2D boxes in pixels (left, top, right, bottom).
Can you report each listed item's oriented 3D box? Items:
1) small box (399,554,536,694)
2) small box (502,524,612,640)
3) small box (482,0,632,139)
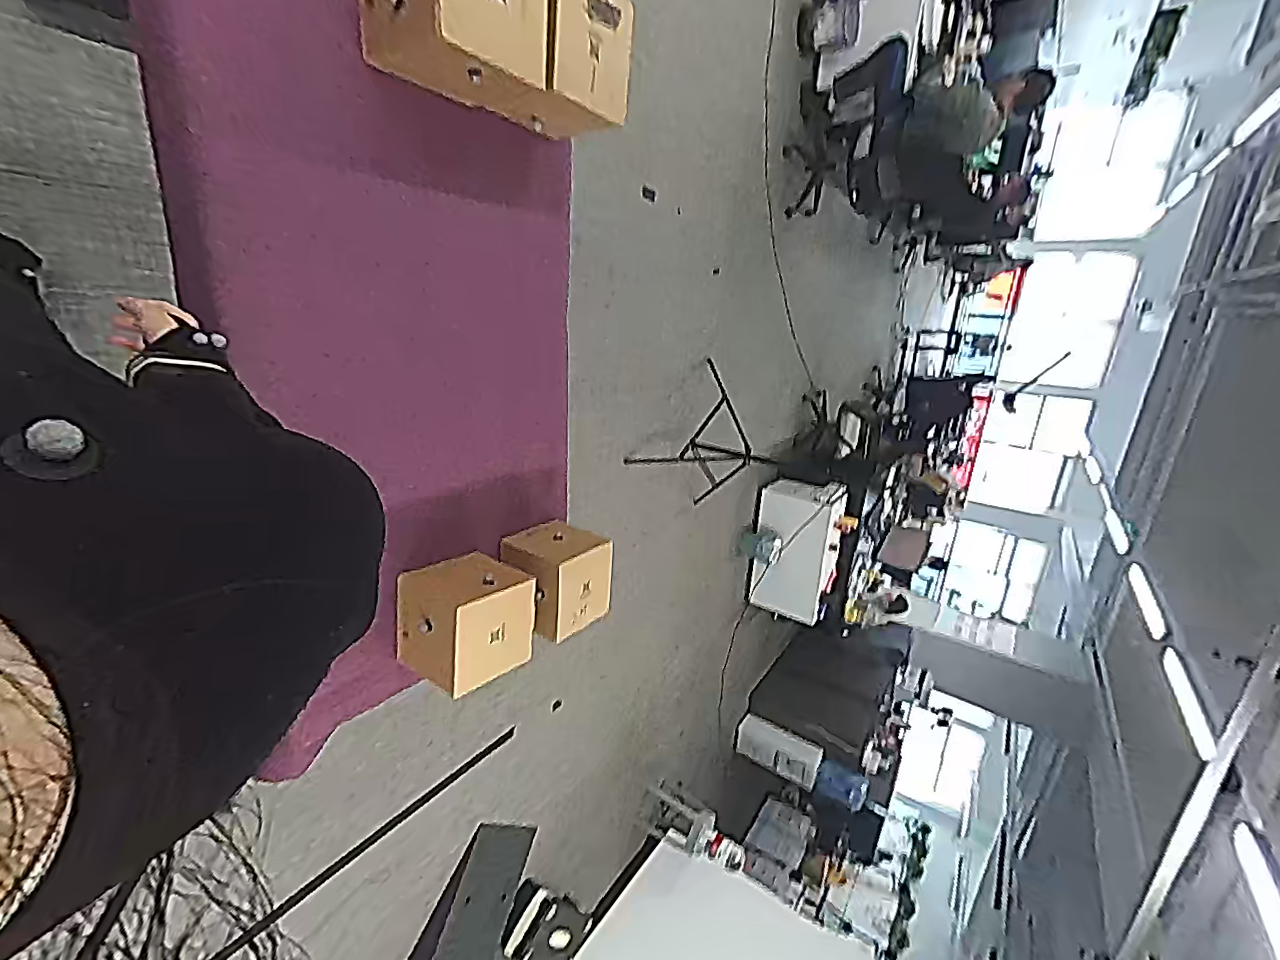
[{"bbox_3d":[-0.313,0.247,0.974,0.179,0.176,0.168,-13,113,-56],"label":"small box"},{"bbox_3d":[-0.179,0.203,1.148,0.168,0.176,0.179,-18,118,-52],"label":"small box"},{"bbox_3d":[-0.134,-0.673,0.862,0.168,0.176,0.179,-15,117,-52],"label":"small box"}]
